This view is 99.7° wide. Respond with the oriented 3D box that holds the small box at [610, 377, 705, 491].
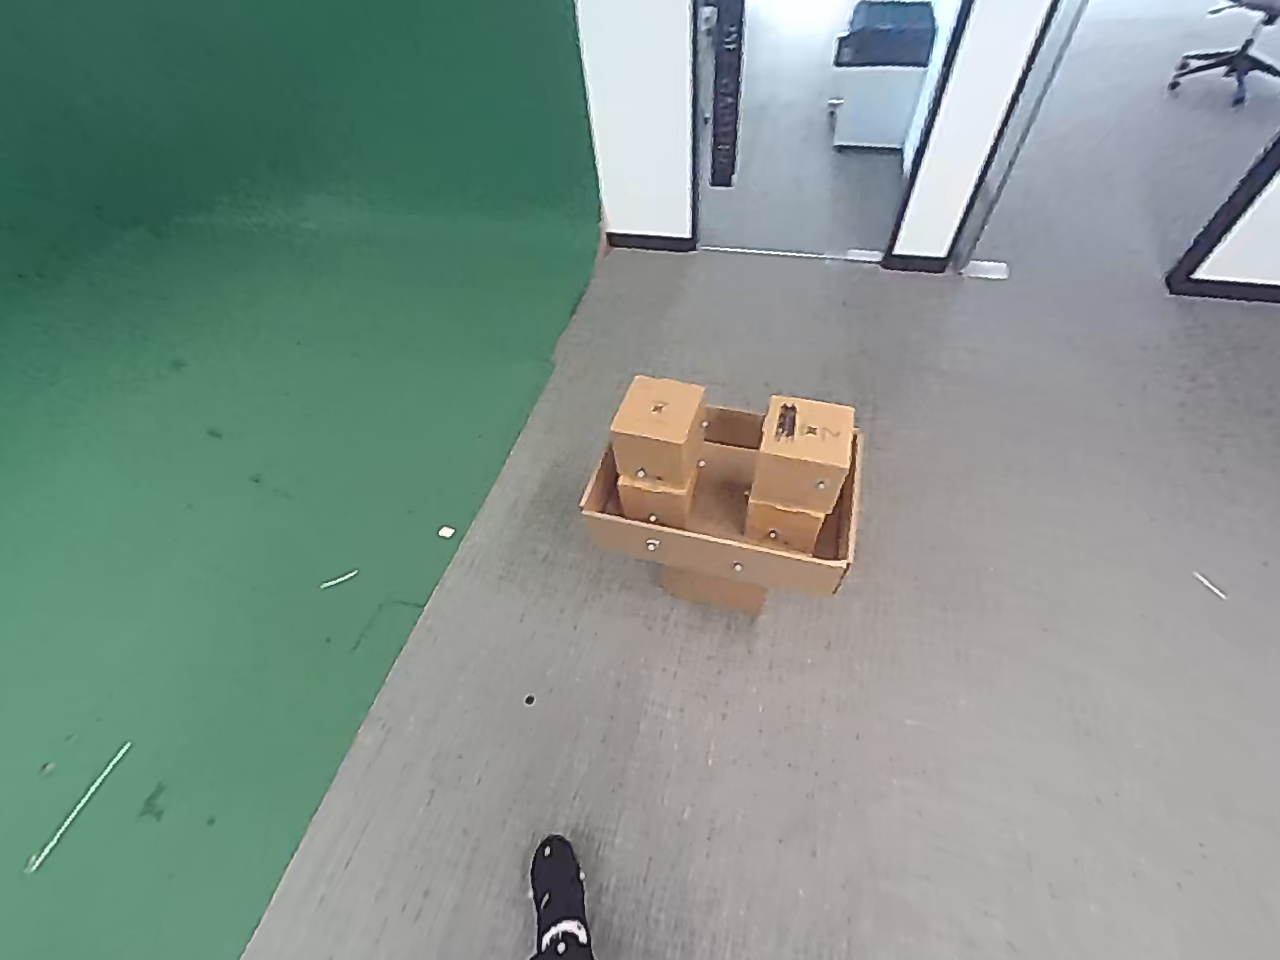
[{"bbox_3d":[0.044,-0.105,1.234,0.168,0.176,0.179,13,55,15],"label":"small box"}]
